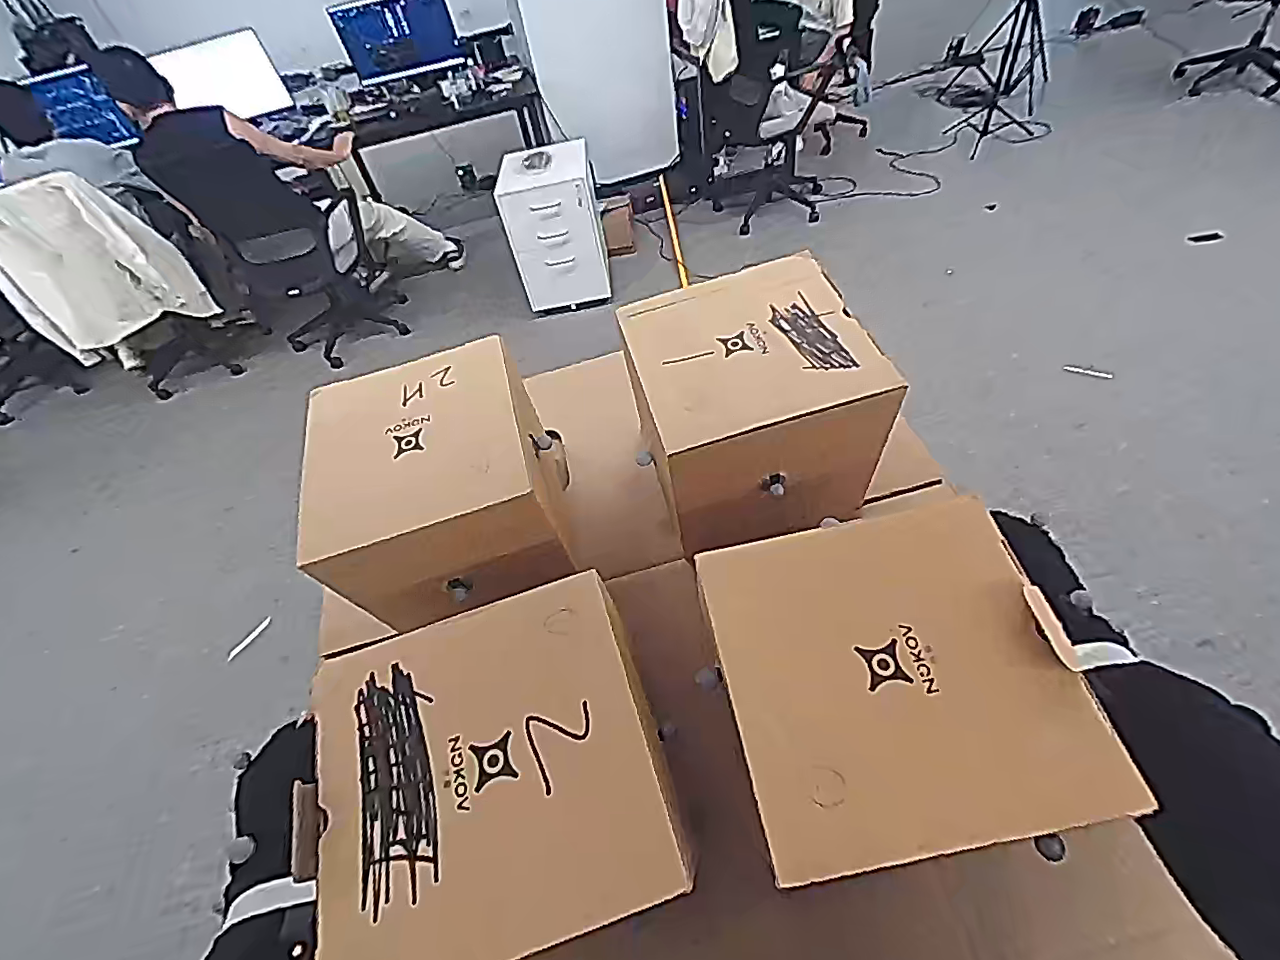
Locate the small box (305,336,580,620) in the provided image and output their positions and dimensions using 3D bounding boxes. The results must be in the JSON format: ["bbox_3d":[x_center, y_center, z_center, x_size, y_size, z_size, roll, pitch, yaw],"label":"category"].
[{"bbox_3d":[-0.161,0.010,0.484,0.168,0.176,0.179,-17,56,-2],"label":"small box"}]

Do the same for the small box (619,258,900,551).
[{"bbox_3d":[0.093,-0.059,0.484,0.179,0.176,0.168,-16,56,0],"label":"small box"}]
